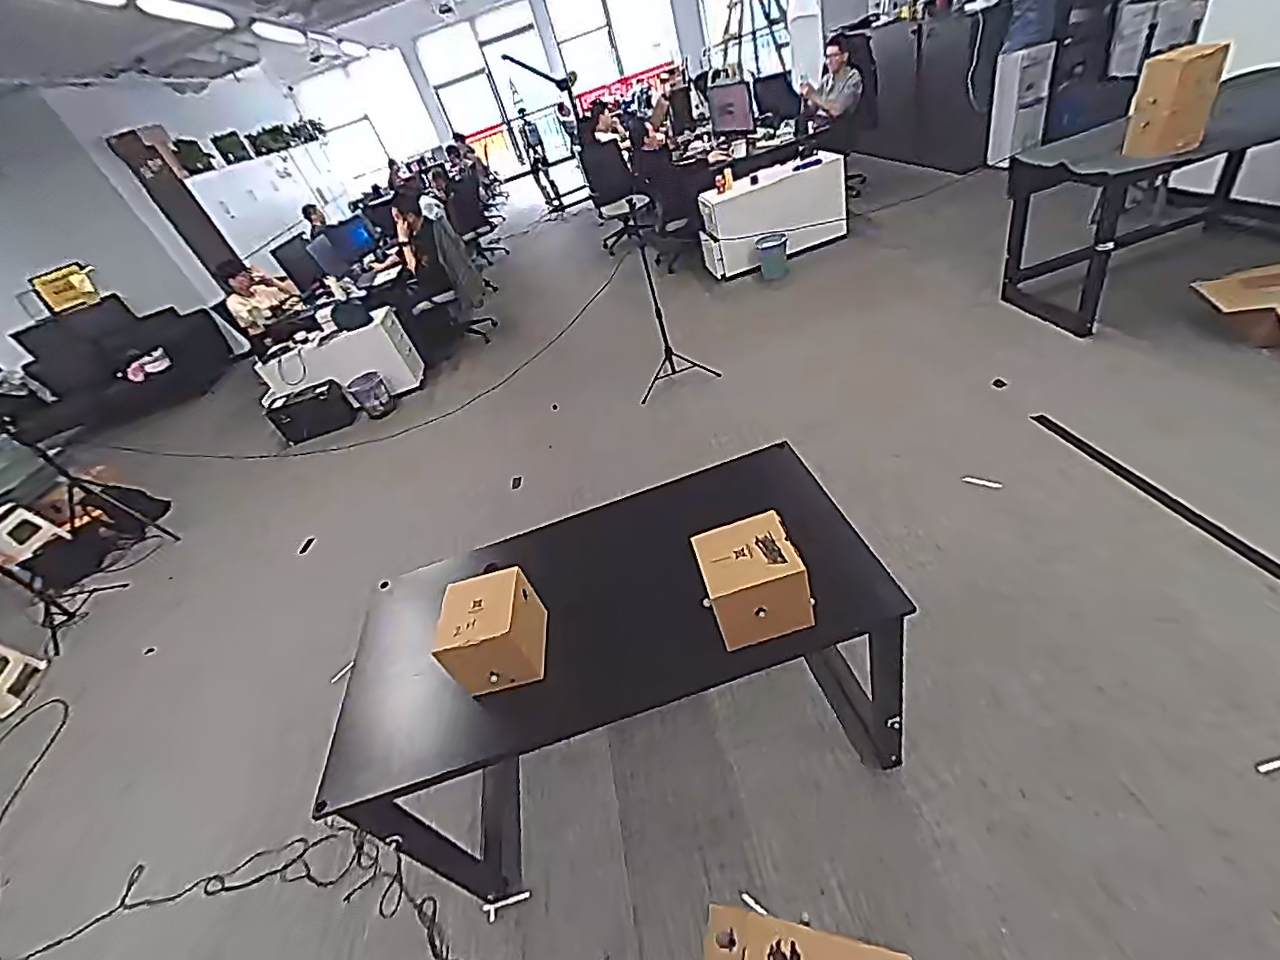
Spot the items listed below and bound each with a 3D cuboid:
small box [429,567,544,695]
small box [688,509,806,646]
[{"bbox_3d":[-0.311,0.317,1.135,0.168,0.176,0.179,-17,38,6],"label":"small box"},{"bbox_3d":[0.210,0.191,1.047,0.179,0.176,0.168,-19,37,4],"label":"small box"}]
